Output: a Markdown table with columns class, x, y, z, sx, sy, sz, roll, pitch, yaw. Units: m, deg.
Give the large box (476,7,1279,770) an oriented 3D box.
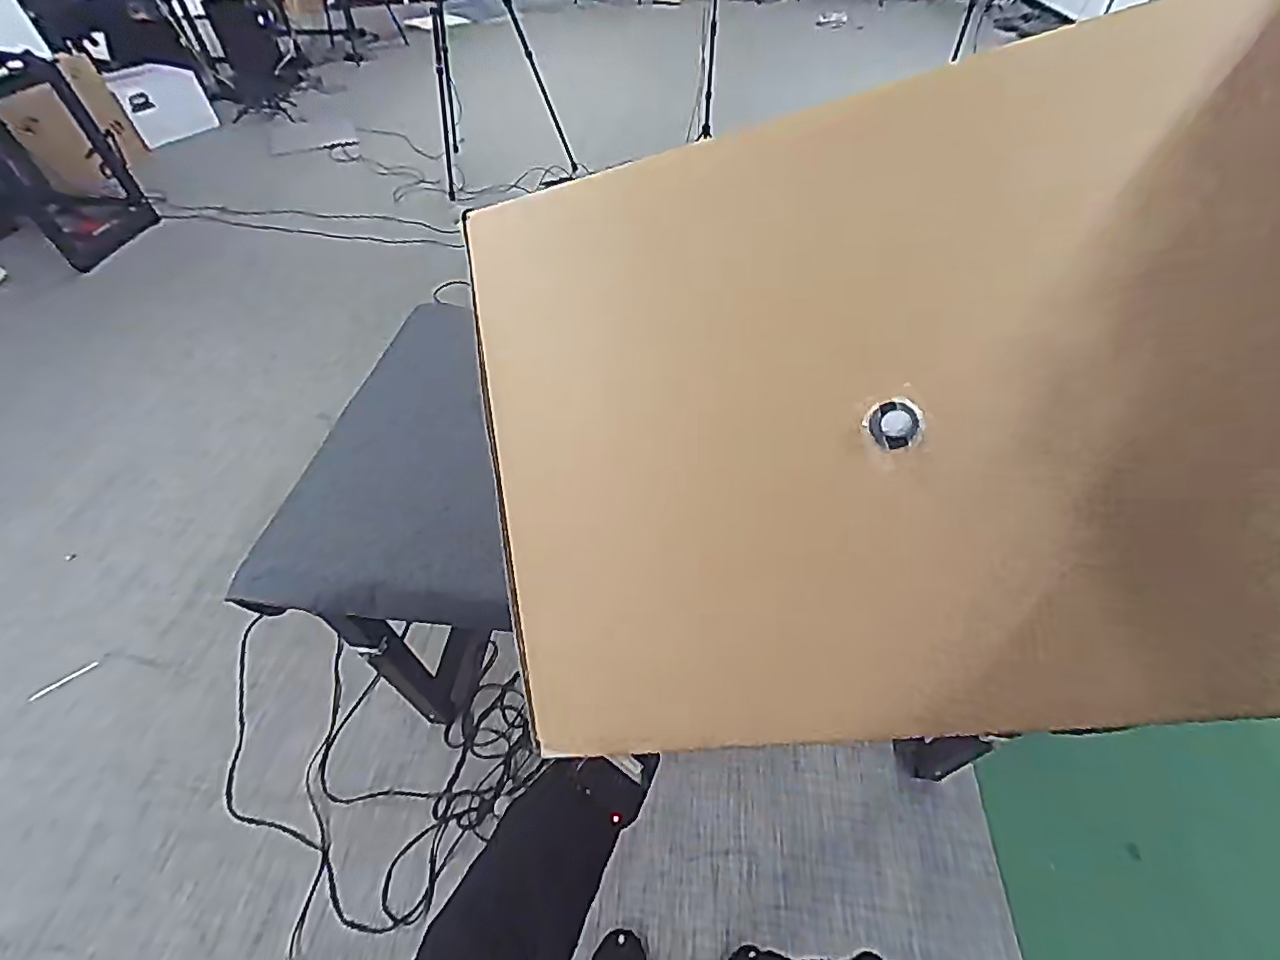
| class | x | y | z | sx | sy | sz | roll | pitch | yaw |
| --- | --- | --- | --- | --- | --- | --- | --- | --- | --- |
| large box | 0.153 | -0.021 | 0.410 | 0.408 | 0.320 | 0.320 | -11 | 85 | 12 |
